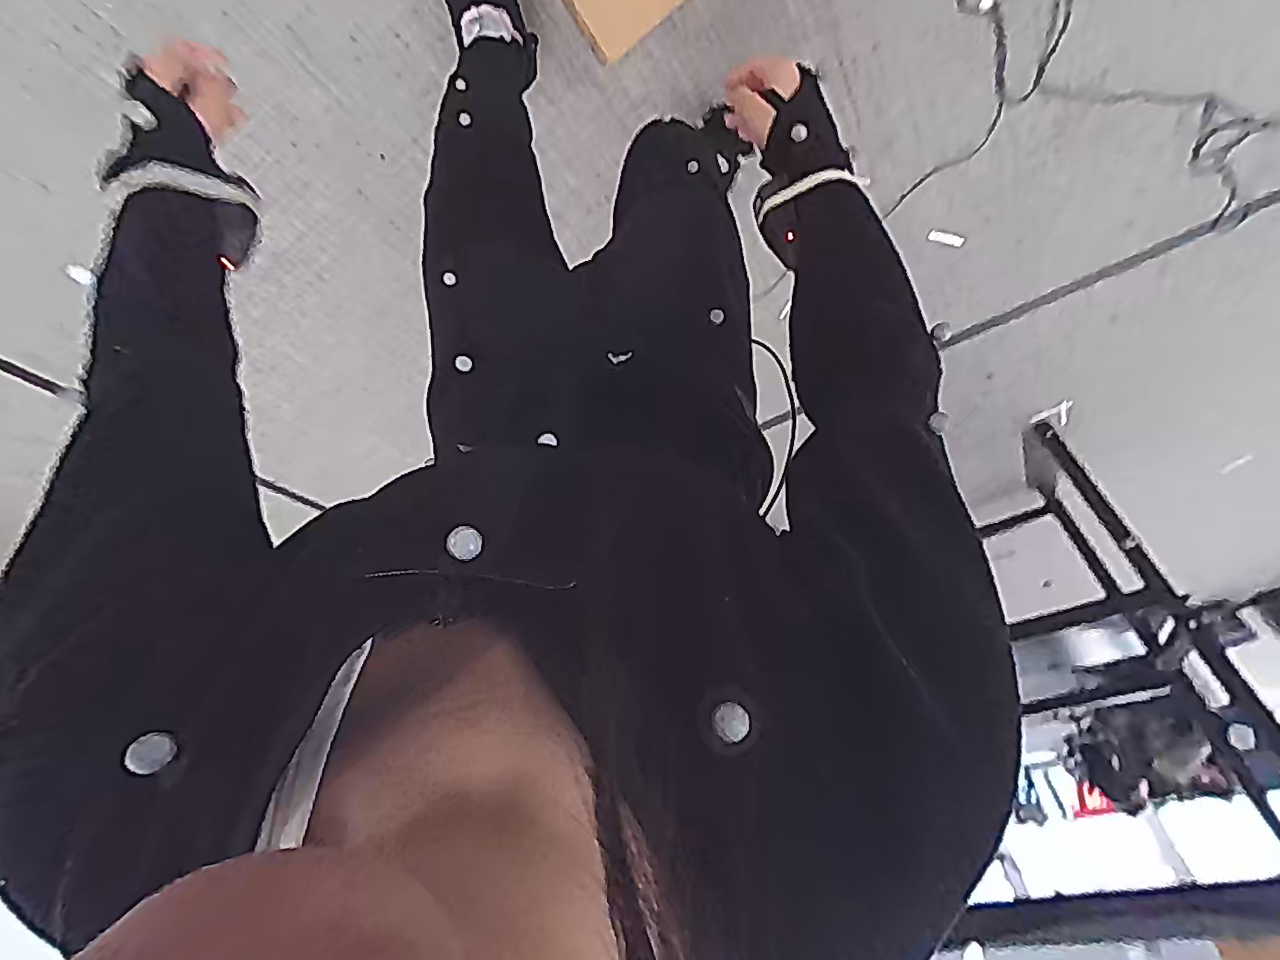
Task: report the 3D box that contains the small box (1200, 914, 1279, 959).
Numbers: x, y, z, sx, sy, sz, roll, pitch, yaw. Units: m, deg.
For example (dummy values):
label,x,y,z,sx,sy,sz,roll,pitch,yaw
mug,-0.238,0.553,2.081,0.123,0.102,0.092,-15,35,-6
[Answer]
label,x,y,z,sx,sy,sz,roll,pitch,yaw
small box,1.521,1.176,1.310,0.168,0.176,0.179,-27,140,26
